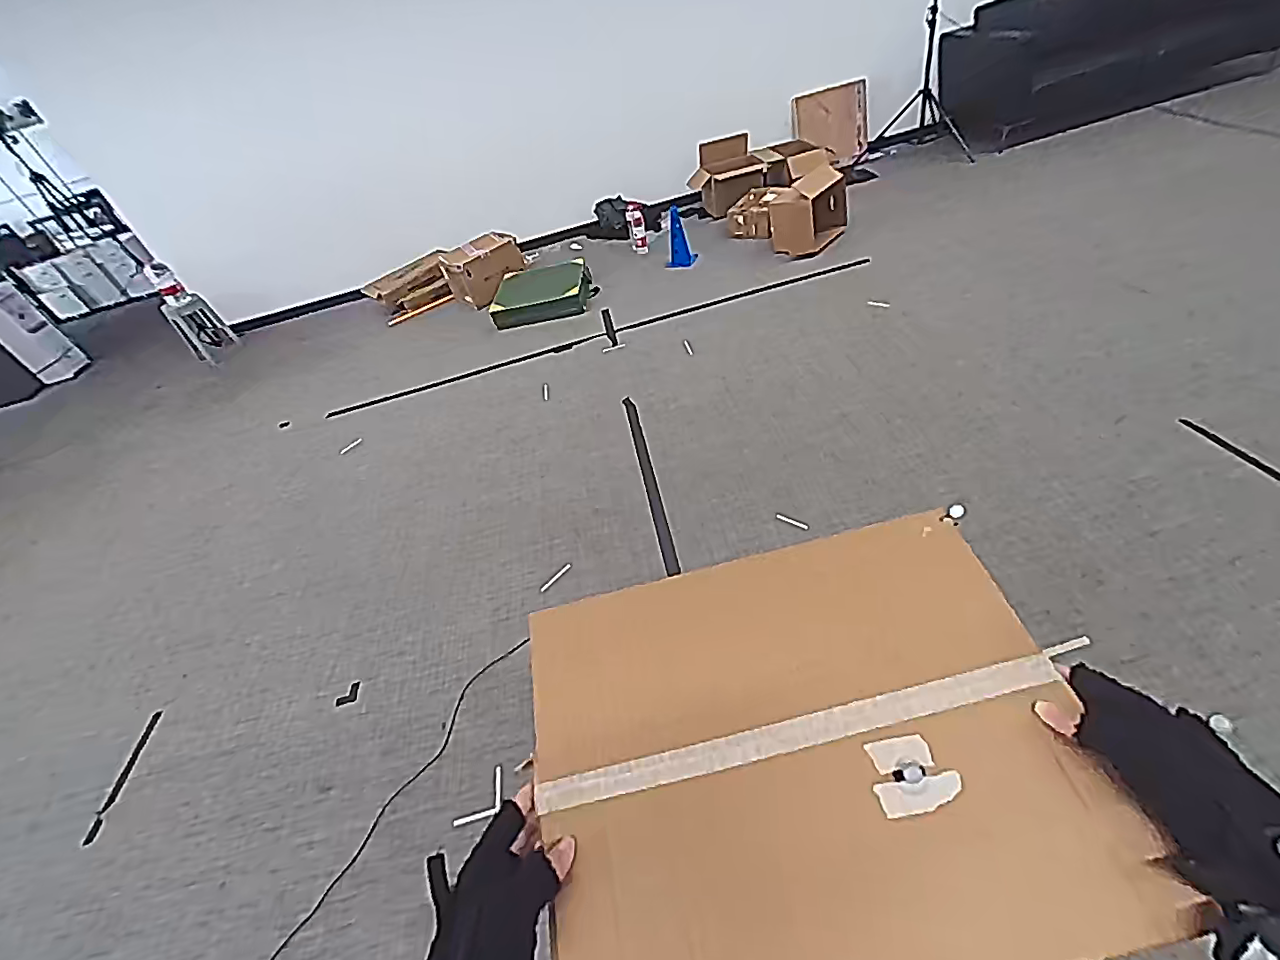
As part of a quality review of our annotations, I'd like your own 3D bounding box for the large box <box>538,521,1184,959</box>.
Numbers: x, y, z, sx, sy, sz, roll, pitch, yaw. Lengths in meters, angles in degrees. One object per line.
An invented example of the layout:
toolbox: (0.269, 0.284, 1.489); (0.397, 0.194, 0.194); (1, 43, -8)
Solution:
large box: (0.145, 0.296, 0.544); (0.408, 0.320, 0.320); (-15, 51, 0)
